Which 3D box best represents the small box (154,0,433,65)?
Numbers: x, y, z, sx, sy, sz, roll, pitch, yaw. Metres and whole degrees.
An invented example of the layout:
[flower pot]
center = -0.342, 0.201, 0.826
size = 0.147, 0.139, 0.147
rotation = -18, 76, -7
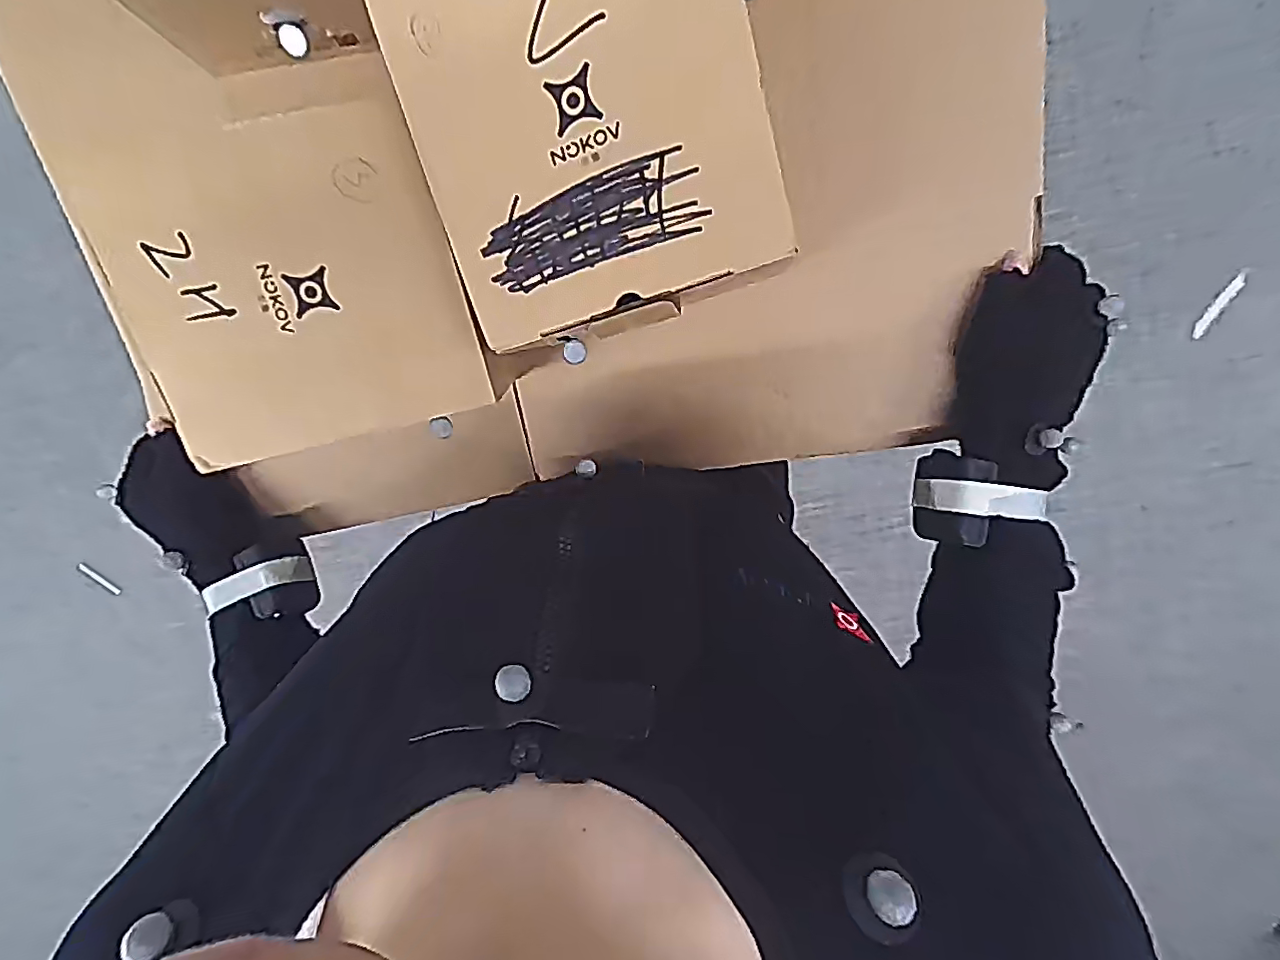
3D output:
[small box]
center = -0.234, -0.379, 0.300
size = 0.168, 0.176, 0.179
rotation = -13, 107, -5
